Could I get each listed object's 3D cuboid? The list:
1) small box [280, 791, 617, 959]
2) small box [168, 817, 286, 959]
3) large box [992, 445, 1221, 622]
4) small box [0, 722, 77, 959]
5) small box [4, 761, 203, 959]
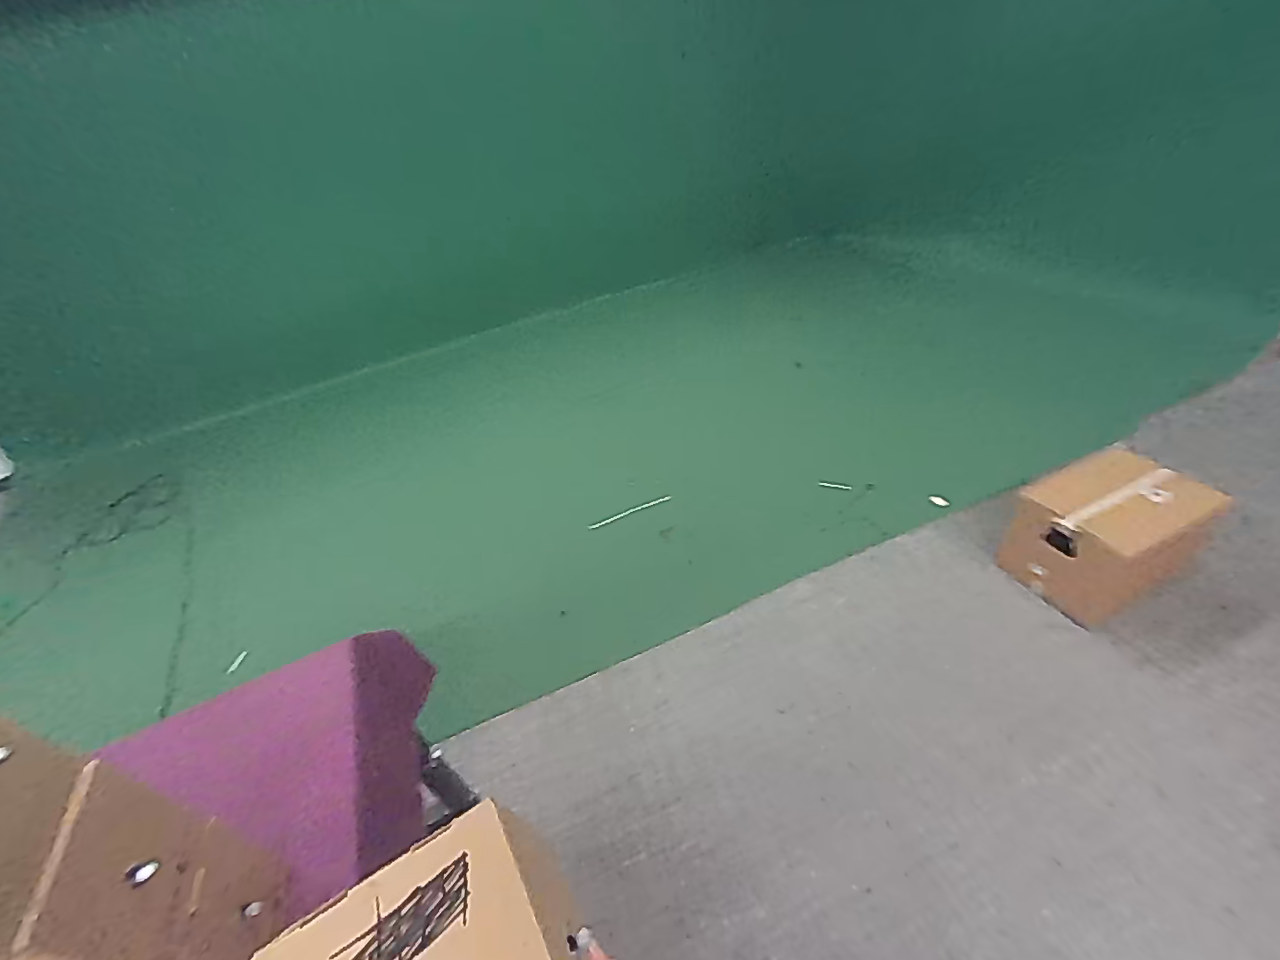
[{"bbox_3d":[-0.109,0.360,0.373,0.168,0.176,0.179,-27,52,-15],"label":"small box"},{"bbox_3d":[-0.548,0.540,0.627,0.179,0.176,0.168,-22,40,-12],"label":"small box"},{"bbox_3d":[1.372,0.153,1.629,0.408,0.320,0.320,-21,39,-12],"label":"large box"},{"bbox_3d":[-0.606,0.298,0.412,0.168,0.176,0.179,-24,41,-11],"label":"small box"},{"bbox_3d":[-0.575,0.417,0.519,0.179,0.176,0.168,-23,40,-12],"label":"small box"}]
